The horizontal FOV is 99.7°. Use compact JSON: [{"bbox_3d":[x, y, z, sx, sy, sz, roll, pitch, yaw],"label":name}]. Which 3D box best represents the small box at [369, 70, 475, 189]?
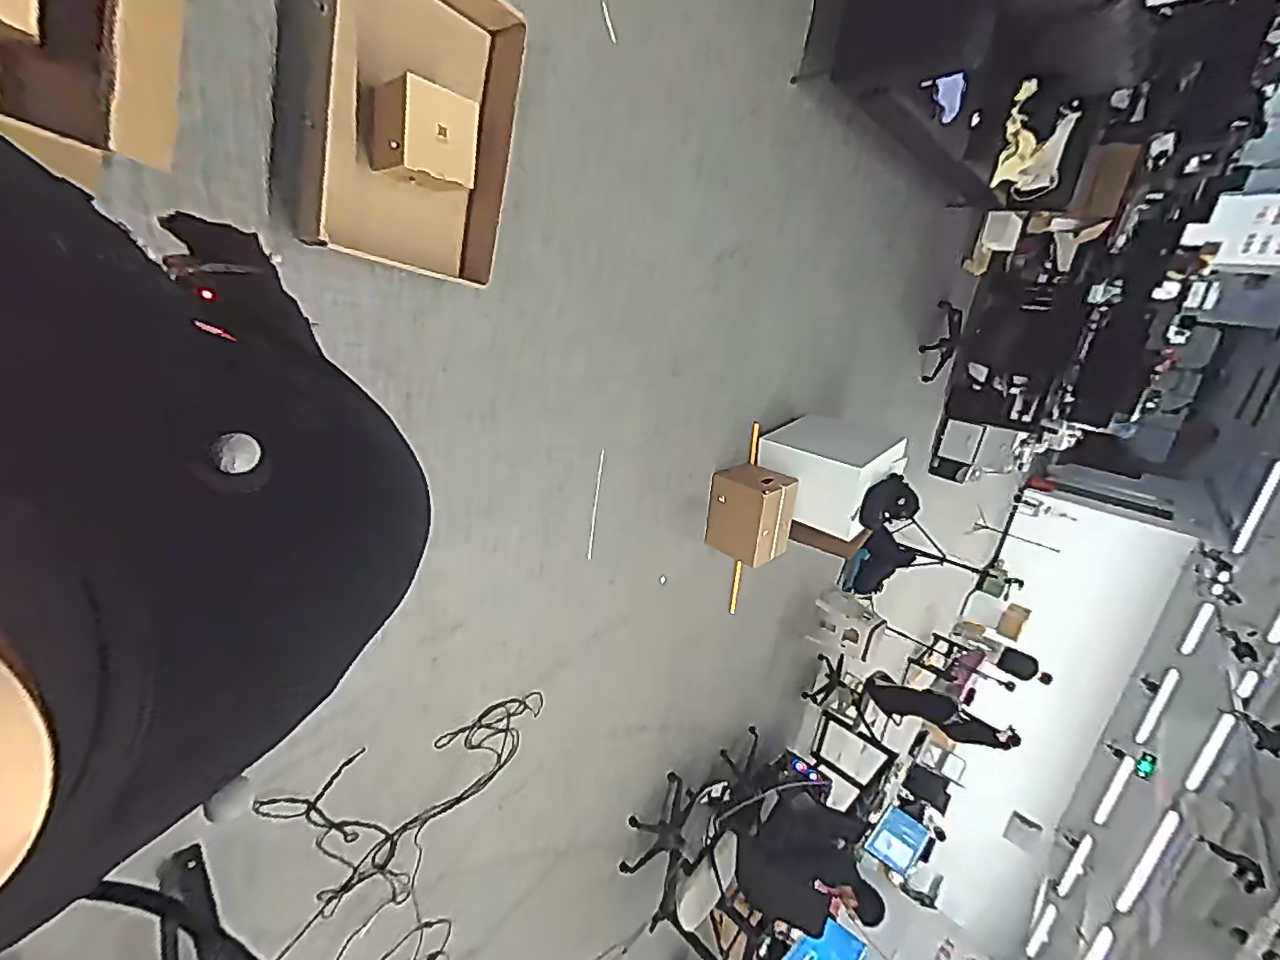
[{"bbox_3d":[-0.493,-0.775,1.216,0.168,0.176,0.179,-8,114,-46],"label":"small box"}]
